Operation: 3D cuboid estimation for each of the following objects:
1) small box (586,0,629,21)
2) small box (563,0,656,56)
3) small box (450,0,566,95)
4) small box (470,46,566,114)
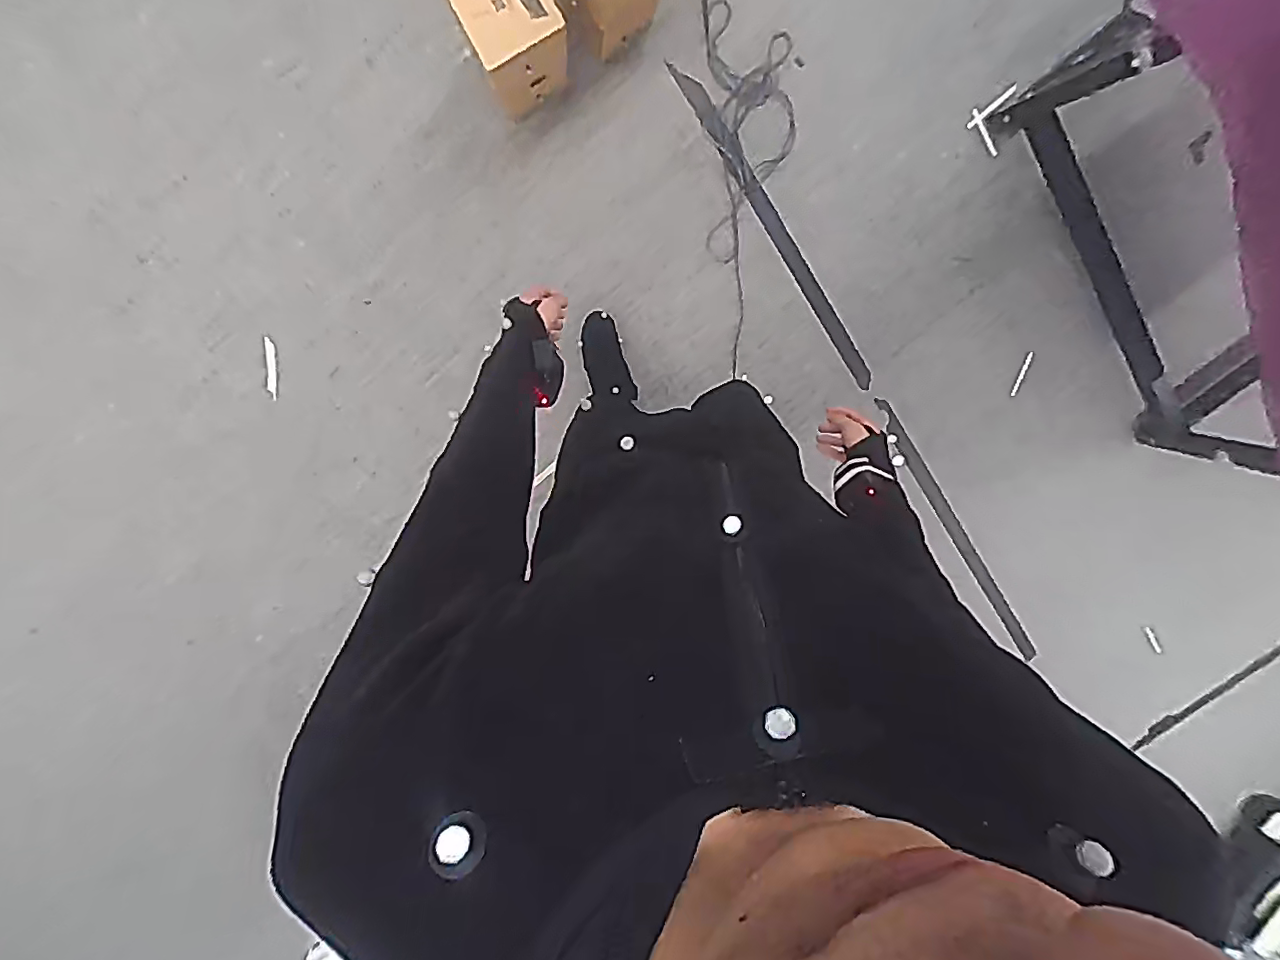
[{"bbox_3d":[-0.058,-1.063,1.056,0.179,0.176,0.168,-35,108,6],"label":"small box"},{"bbox_3d":[-0.076,-1.113,1.209,0.168,0.176,0.179,-37,108,7],"label":"small box"},{"bbox_3d":[-0.263,-0.916,1.075,0.179,0.176,0.168,-29,108,4],"label":"small box"},{"bbox_3d":[-0.283,-0.981,1.225,0.168,0.176,0.179,-32,109,5],"label":"small box"}]
